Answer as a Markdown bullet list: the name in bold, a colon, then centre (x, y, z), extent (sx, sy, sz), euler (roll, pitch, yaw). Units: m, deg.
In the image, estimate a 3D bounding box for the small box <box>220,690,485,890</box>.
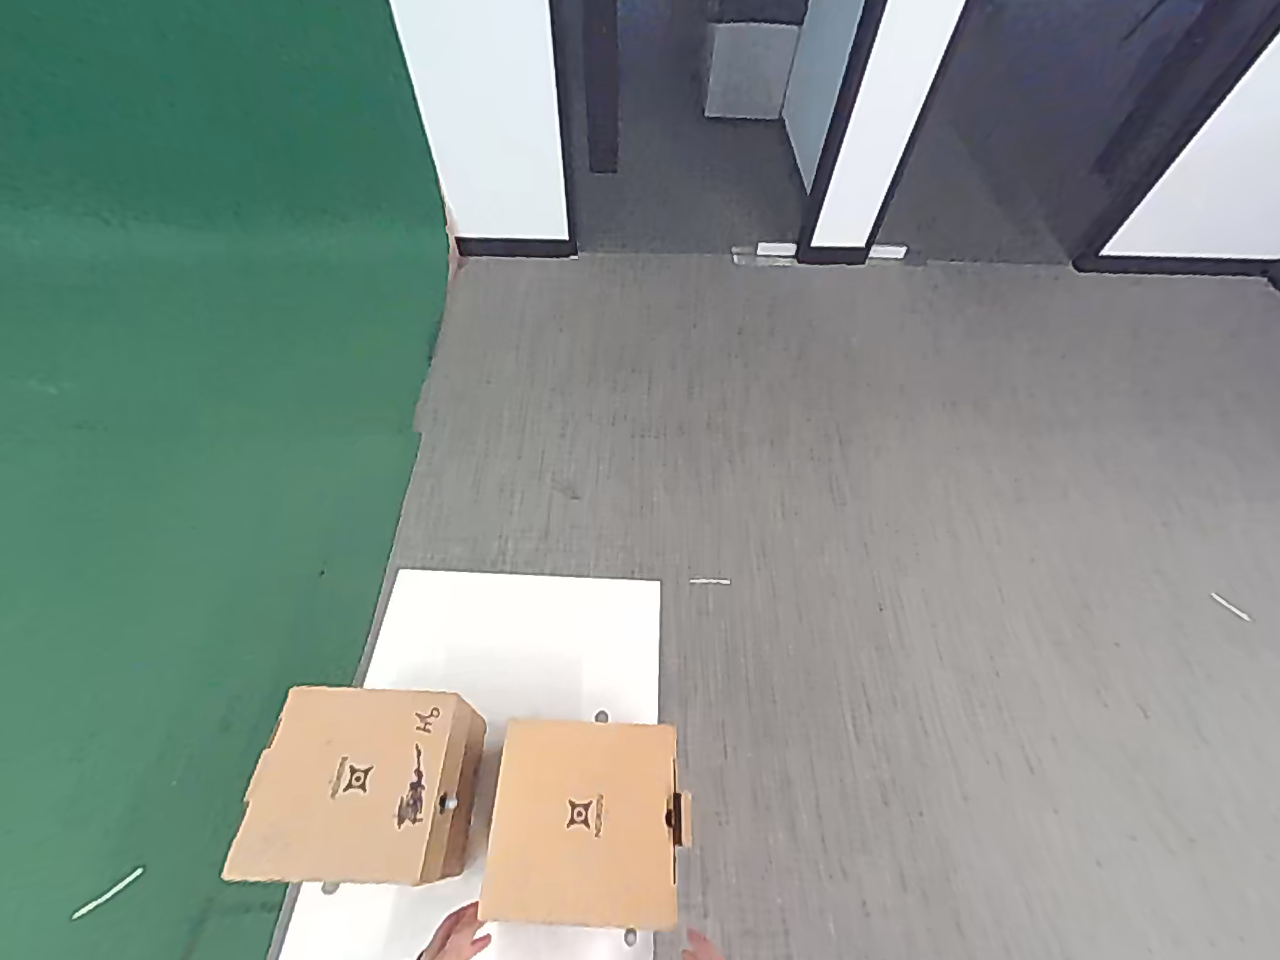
- **small box**: centre (-0.284, 0.335, 0.586), extent (0.179, 0.176, 0.168), euler (3, 56, -1)
